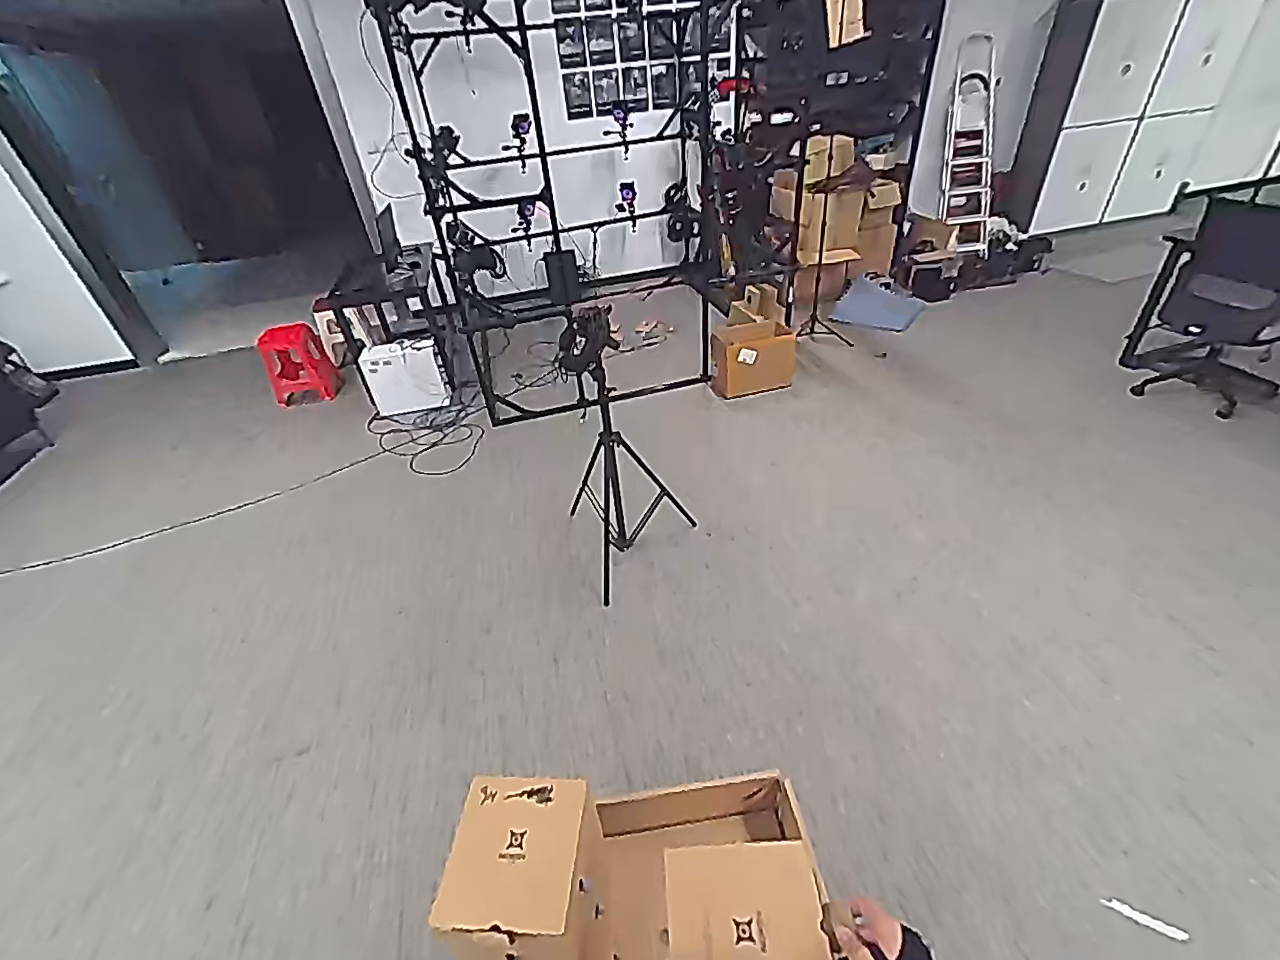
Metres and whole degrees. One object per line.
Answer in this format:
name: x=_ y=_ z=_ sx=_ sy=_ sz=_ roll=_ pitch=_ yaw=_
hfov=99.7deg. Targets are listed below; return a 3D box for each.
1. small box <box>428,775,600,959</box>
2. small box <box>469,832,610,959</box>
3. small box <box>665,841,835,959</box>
small box: x=-0.153 y=0.532 z=0.734 sx=0.168 sy=0.176 sz=0.179 roll=-1 pitch=36 yaw=7
small box: x=-0.141 y=0.662 z=0.834 sx=0.168 sy=0.176 sz=0.179 roll=-4 pitch=35 yaw=4
small box: x=0.124 y=0.549 z=0.641 sx=0.179 sy=0.176 sz=0.168 roll=-5 pitch=41 yaw=3
